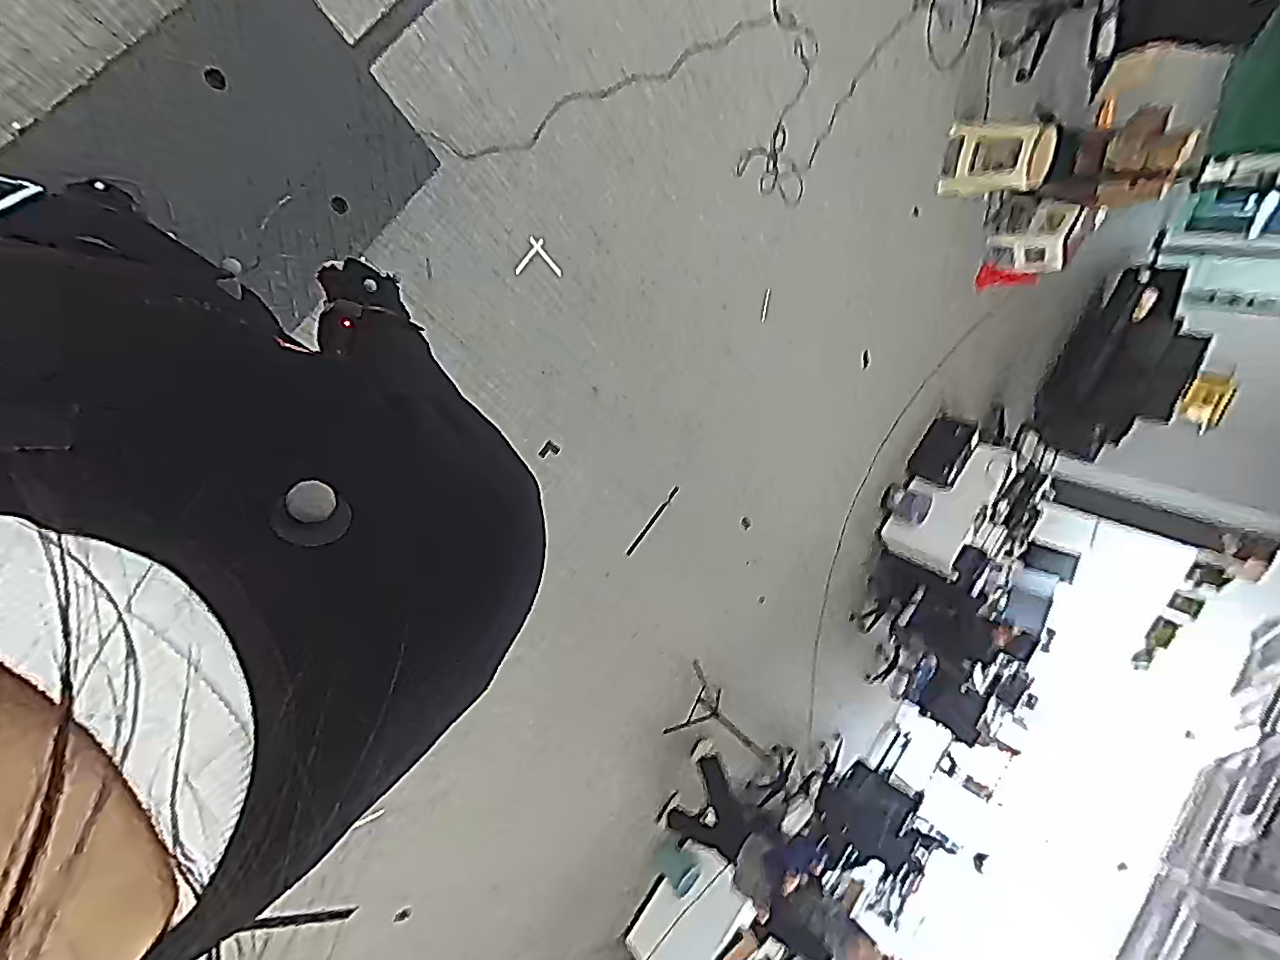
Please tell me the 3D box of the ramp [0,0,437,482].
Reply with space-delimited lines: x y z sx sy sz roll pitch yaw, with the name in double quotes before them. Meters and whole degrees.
"ramp" -0.886 -0.533 1.139 0.991 0.206 0.509 -56 135 -9
